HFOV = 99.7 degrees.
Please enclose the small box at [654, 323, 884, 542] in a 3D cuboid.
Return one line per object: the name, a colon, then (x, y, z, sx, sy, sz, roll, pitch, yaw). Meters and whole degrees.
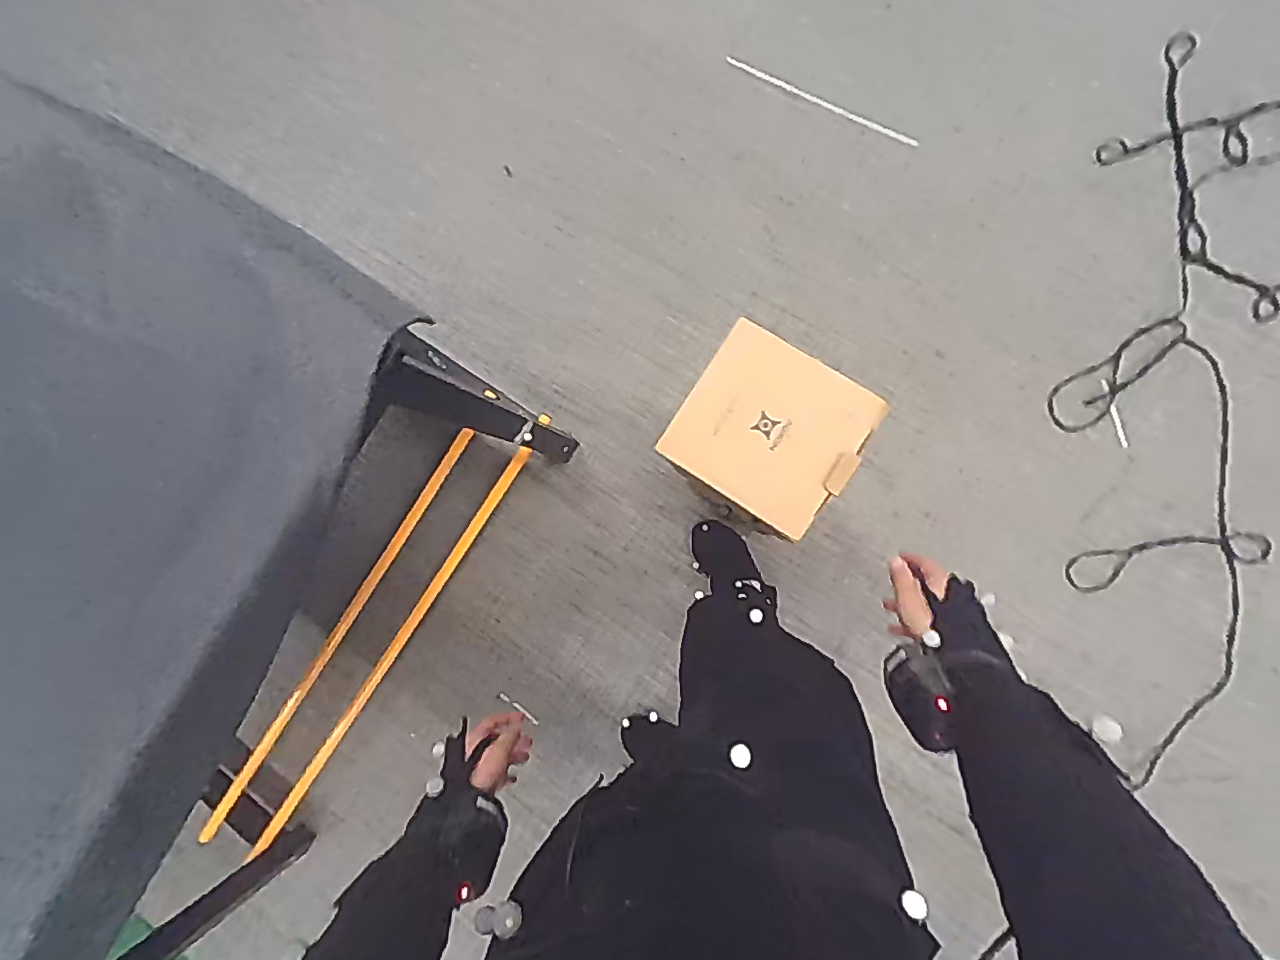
small box: (0.140, -0.046, 0.626, 0.179, 0.176, 0.168, 33, 90, 10)
